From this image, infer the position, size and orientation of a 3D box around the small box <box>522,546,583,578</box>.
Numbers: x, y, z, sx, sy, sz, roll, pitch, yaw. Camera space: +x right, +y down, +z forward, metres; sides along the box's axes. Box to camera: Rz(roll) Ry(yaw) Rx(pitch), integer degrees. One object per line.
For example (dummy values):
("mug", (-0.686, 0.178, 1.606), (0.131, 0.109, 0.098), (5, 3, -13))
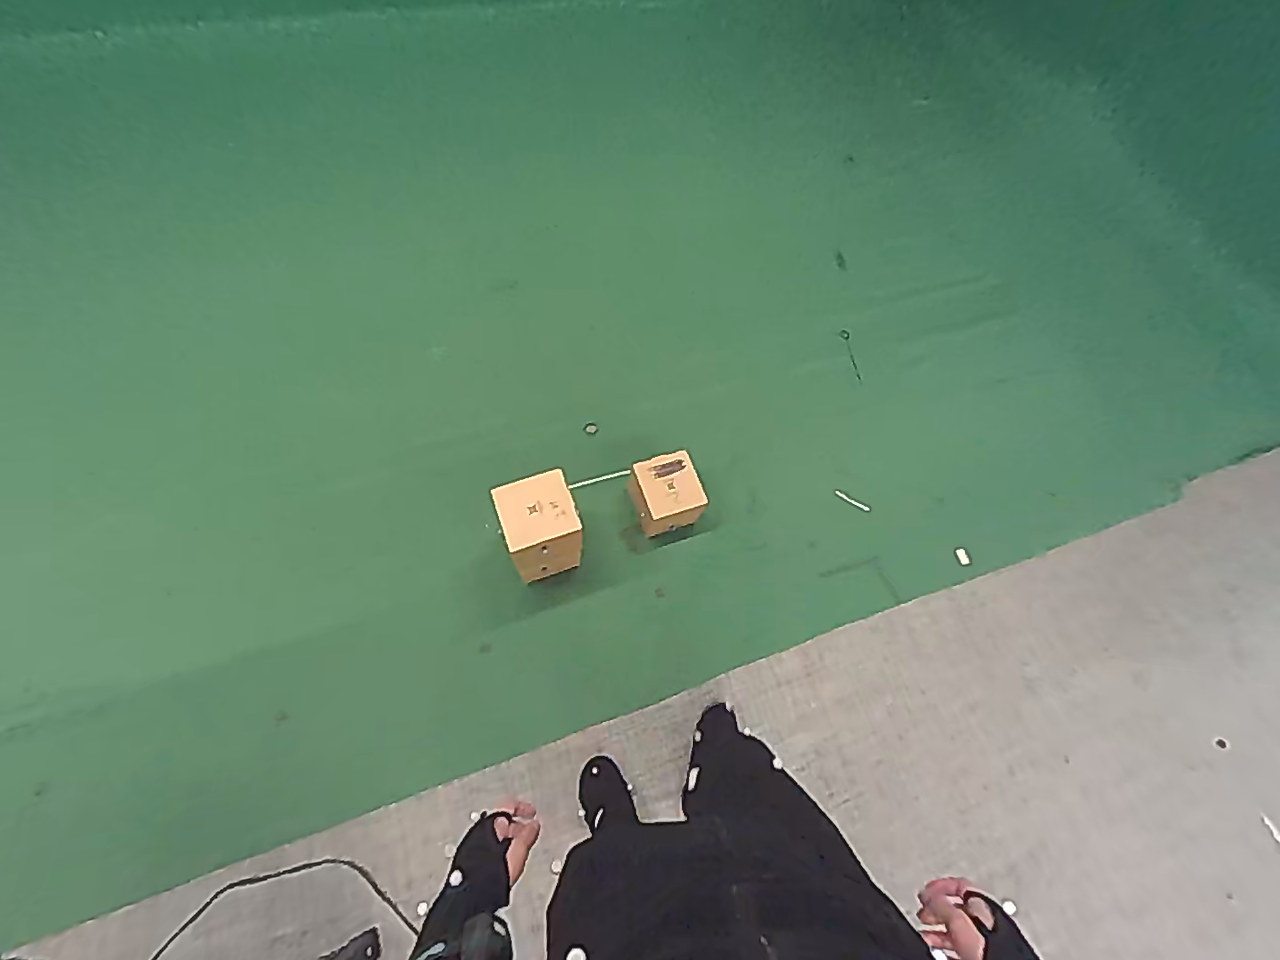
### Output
("small box", (-0.257, 0.158, 1.484), (0.168, 0.176, 0.179), (-18, 69, -13))

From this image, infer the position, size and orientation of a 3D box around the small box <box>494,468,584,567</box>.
("small box", (-0.242, 0.097, 1.332), (0.179, 0.176, 0.168), (-18, 70, -13))
